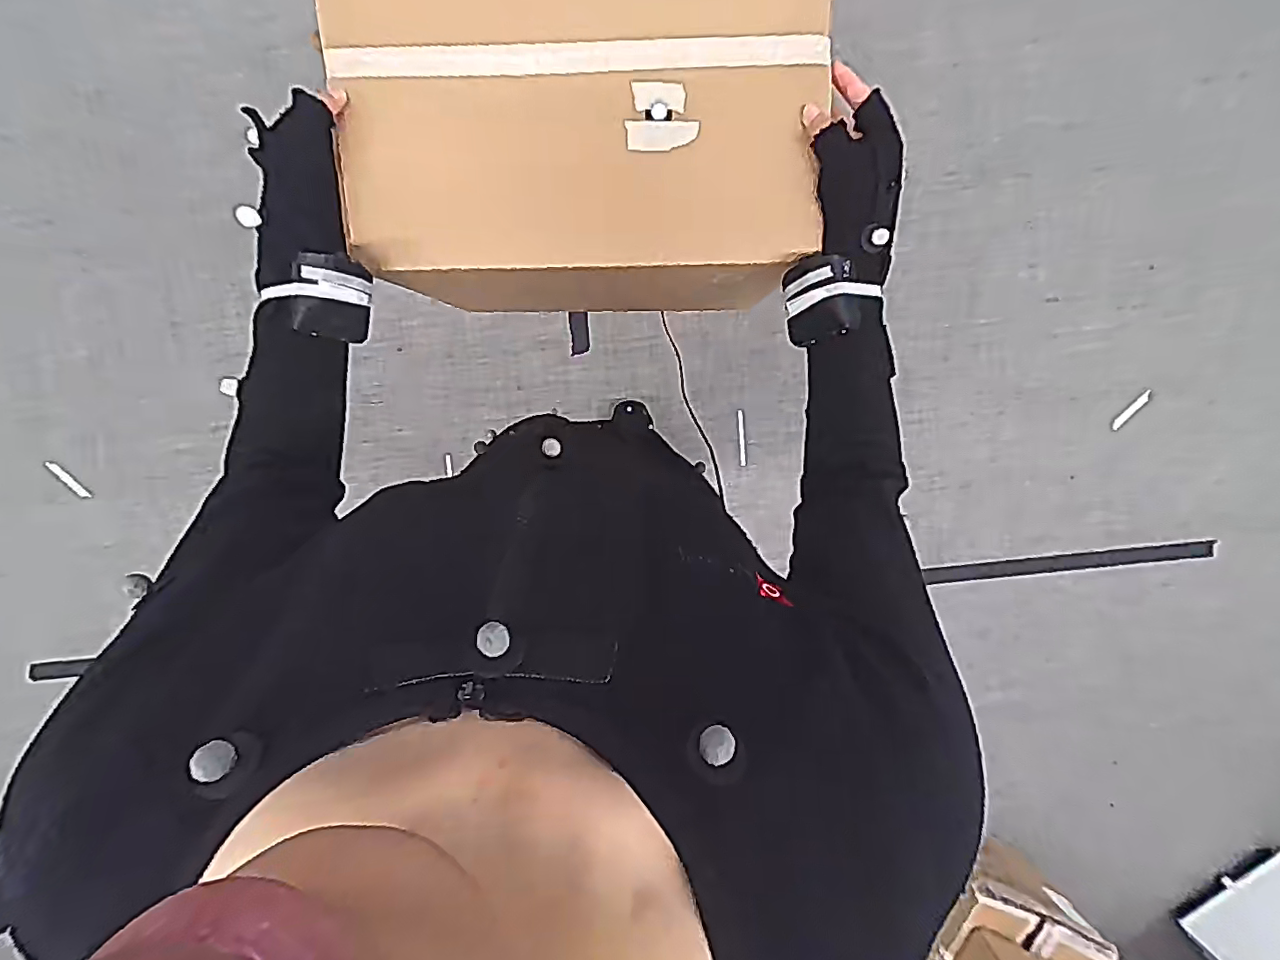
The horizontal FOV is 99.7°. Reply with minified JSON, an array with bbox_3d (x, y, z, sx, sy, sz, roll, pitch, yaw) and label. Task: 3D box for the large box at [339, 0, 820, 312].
[{"bbox_3d":[-0.050,-0.371,0.598,0.408,0.320,0.320,-1,101,0],"label":"large box"}]
